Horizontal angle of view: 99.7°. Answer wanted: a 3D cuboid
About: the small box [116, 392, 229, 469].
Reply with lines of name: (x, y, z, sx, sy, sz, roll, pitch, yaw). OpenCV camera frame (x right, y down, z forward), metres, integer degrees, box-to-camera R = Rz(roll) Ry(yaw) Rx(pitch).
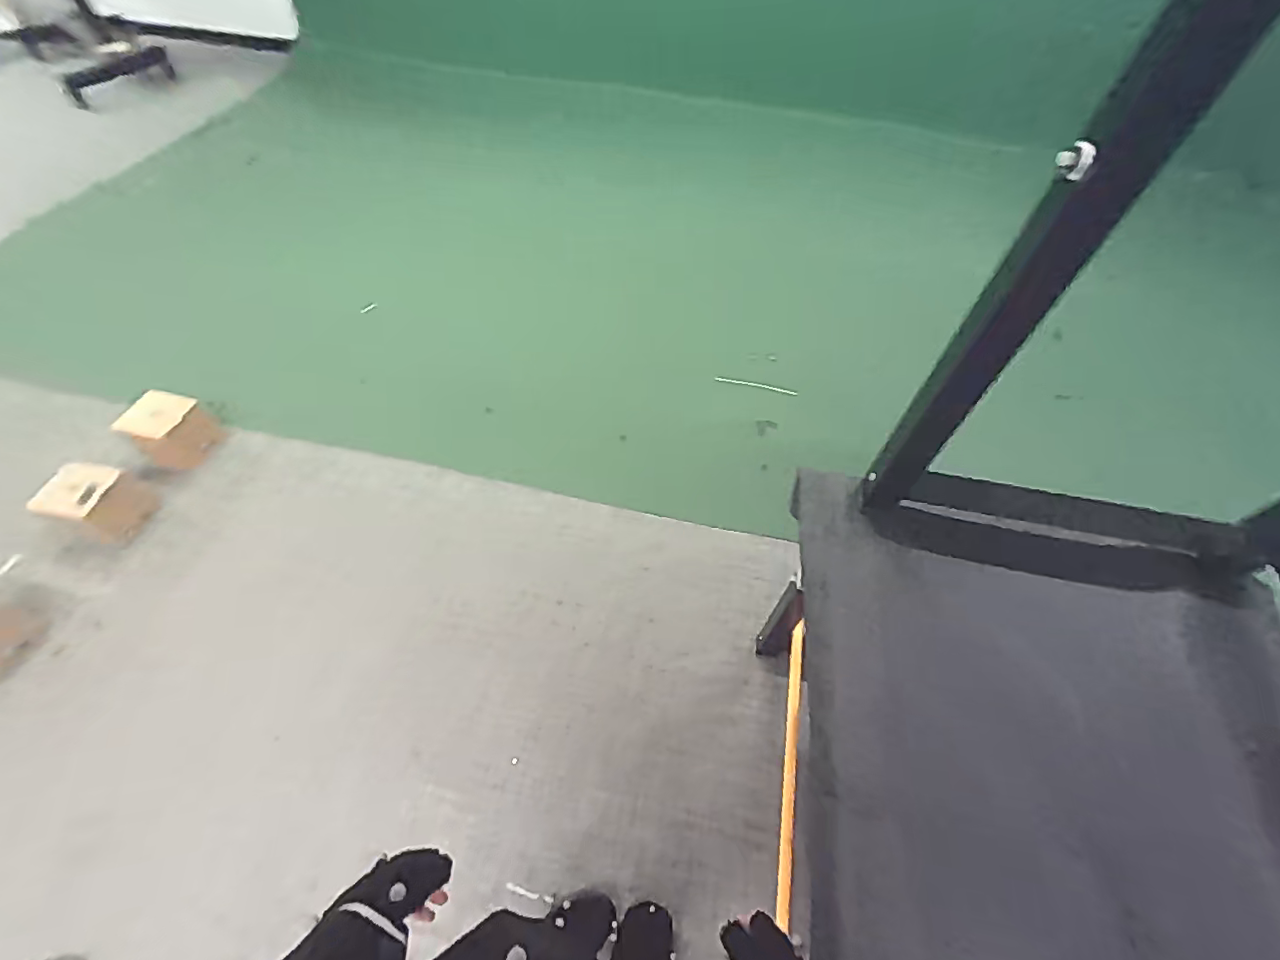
small box: (-1.494, -0.155, 1.742, 0.179, 0.176, 0.168, 12, 55, 5)

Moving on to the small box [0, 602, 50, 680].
small box: (-1.664, 0.384, 1.338, 0.179, 0.176, 0.168, 13, 56, 6)

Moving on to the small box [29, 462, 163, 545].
small box: (-1.565, 0.073, 1.572, 0.179, 0.176, 0.168, 8, 54, 4)
